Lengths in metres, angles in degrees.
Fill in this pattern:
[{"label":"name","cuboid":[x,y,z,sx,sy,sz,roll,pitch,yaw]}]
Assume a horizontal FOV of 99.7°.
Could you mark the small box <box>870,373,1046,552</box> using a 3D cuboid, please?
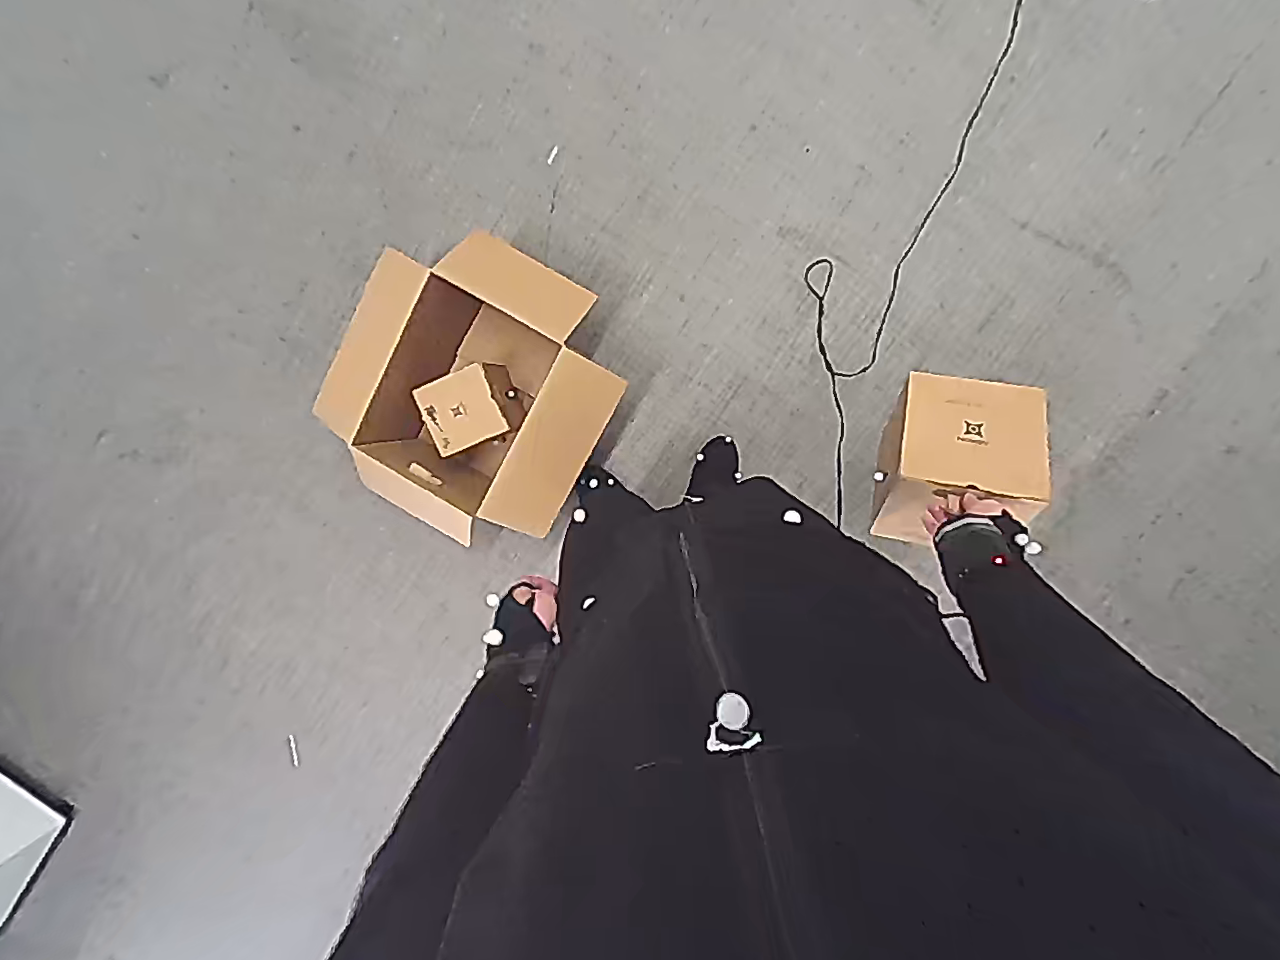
[{"label":"small box","cuboid":[0.431,-0.019,0.754,0.168,0.176,0.179,12,62,14]}]
